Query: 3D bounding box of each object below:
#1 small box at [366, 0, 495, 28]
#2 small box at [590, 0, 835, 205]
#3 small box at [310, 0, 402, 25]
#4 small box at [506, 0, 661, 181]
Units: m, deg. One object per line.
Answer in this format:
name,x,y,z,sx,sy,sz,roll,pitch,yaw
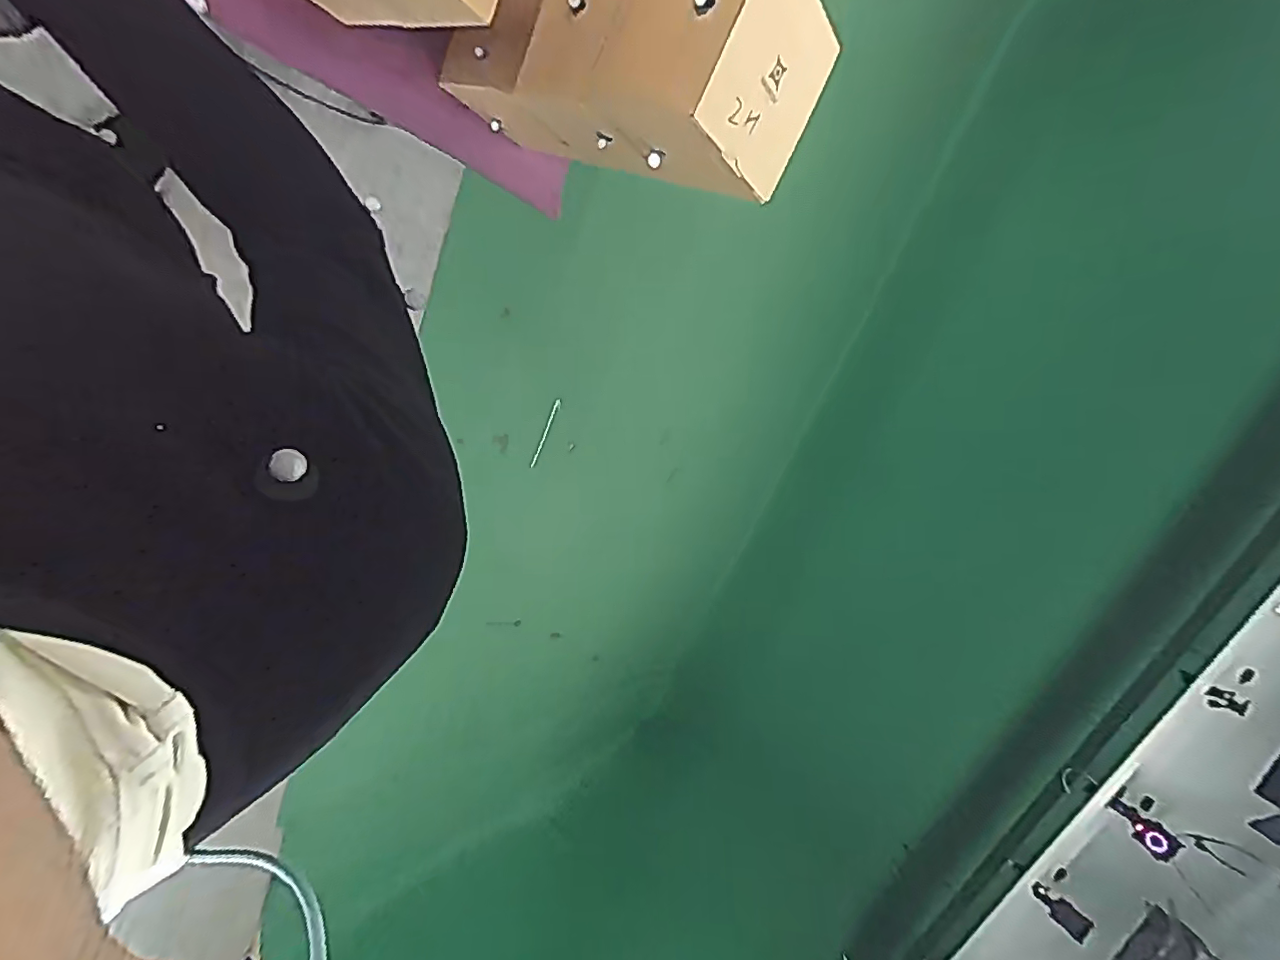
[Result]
small box,-0.212,-0.533,0.456,0.168,0.176,0.179,5,114,-52
small box,0.074,-0.439,0.587,0.168,0.176,0.179,10,111,-53
small box,-0.327,-0.607,0.546,0.168,0.176,0.179,4,114,-52
small box,-0.040,-0.515,0.679,0.168,0.176,0.179,8,111,-52
